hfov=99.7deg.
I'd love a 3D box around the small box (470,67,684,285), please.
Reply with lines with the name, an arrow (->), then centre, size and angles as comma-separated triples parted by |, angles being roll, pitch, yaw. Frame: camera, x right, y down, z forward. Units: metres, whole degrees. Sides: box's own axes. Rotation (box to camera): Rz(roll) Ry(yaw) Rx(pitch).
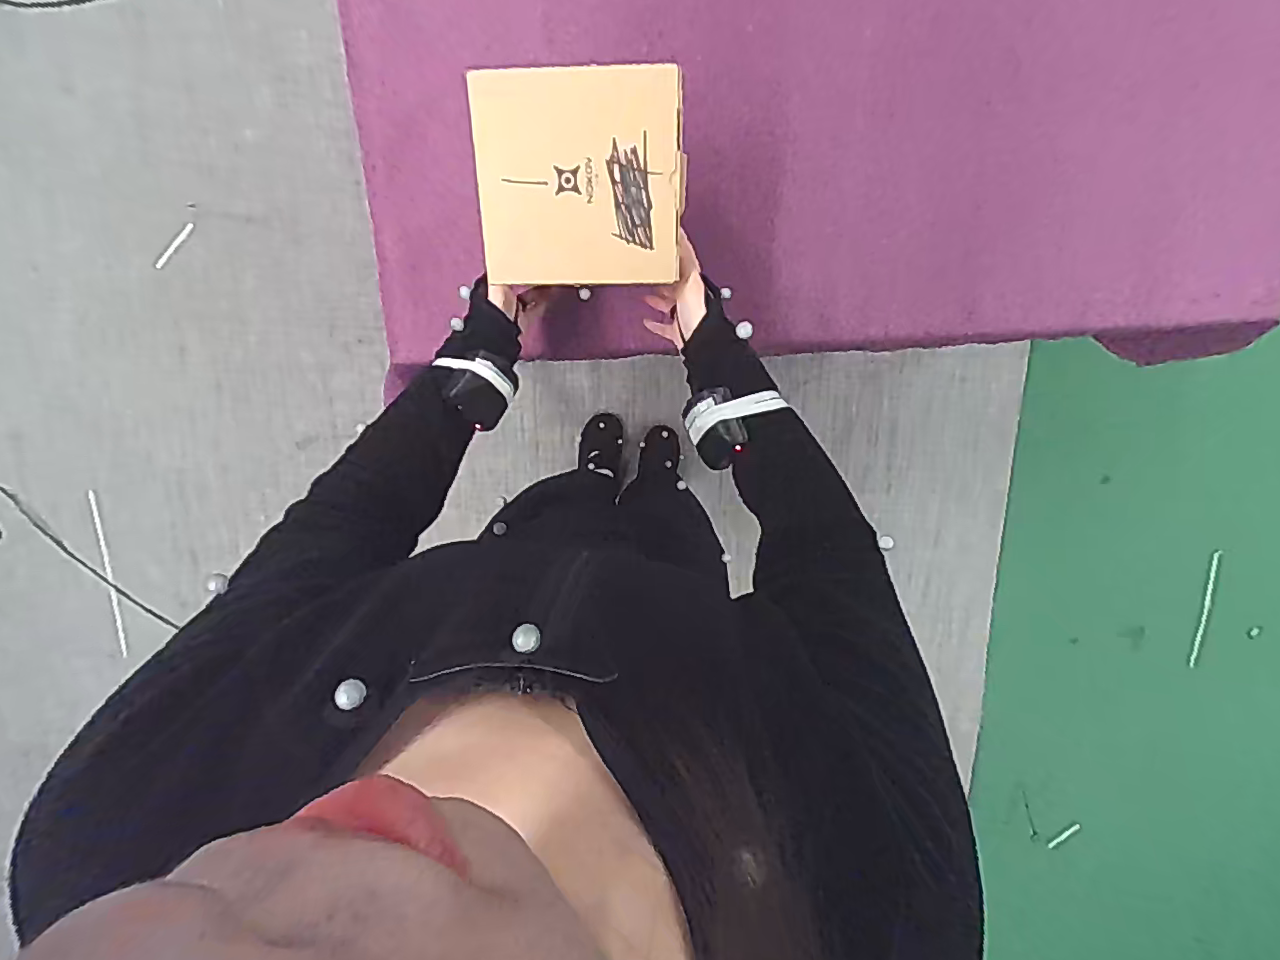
small box -> -0.048, -0.283, 0.536 | 0.179, 0.176, 0.168 | 1, 110, 3
